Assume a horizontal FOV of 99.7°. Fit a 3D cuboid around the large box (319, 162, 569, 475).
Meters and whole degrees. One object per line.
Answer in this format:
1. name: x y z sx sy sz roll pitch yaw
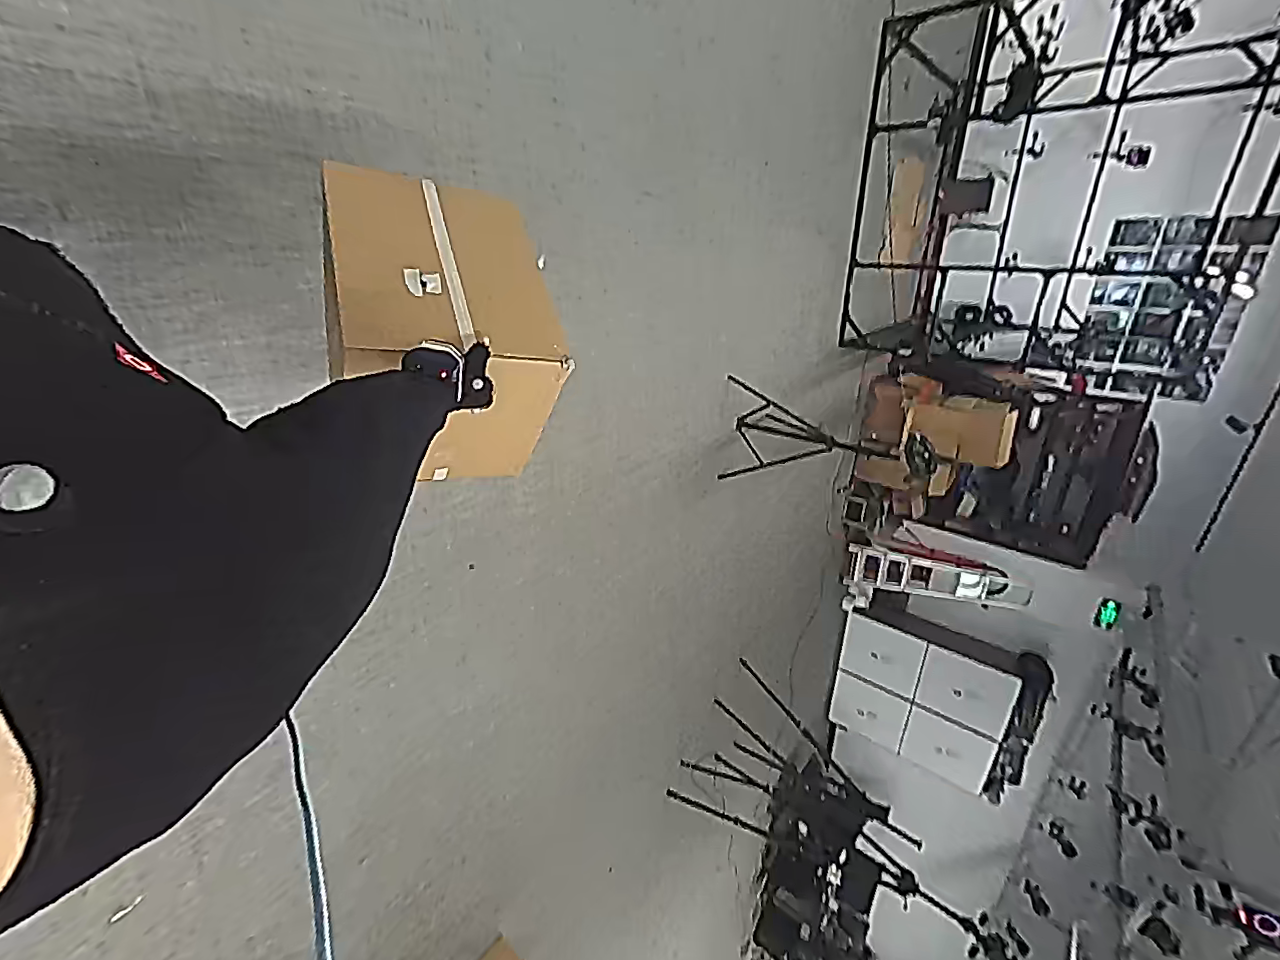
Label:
1. large box: -0.370 -0.262 0.955 0.320 0.408 0.320 -5 151 -32
